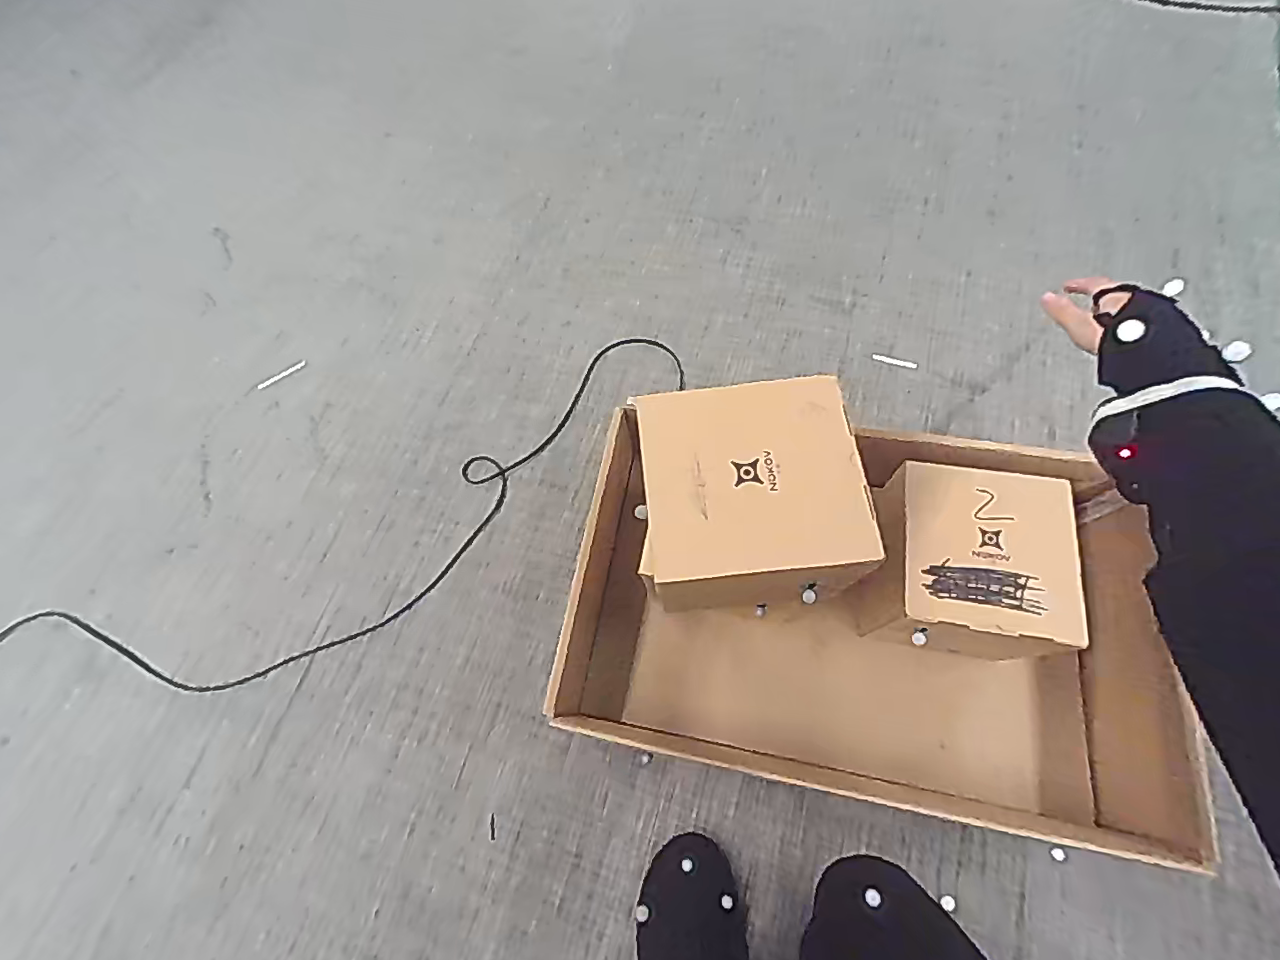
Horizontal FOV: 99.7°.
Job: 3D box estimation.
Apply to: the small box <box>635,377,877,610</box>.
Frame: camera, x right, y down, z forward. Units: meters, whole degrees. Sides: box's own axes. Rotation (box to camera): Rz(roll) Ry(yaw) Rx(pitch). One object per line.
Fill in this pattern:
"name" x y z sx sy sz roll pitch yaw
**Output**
"small box" 0.093 0.024 0.510 0.179 0.176 0.168 -6 68 3
